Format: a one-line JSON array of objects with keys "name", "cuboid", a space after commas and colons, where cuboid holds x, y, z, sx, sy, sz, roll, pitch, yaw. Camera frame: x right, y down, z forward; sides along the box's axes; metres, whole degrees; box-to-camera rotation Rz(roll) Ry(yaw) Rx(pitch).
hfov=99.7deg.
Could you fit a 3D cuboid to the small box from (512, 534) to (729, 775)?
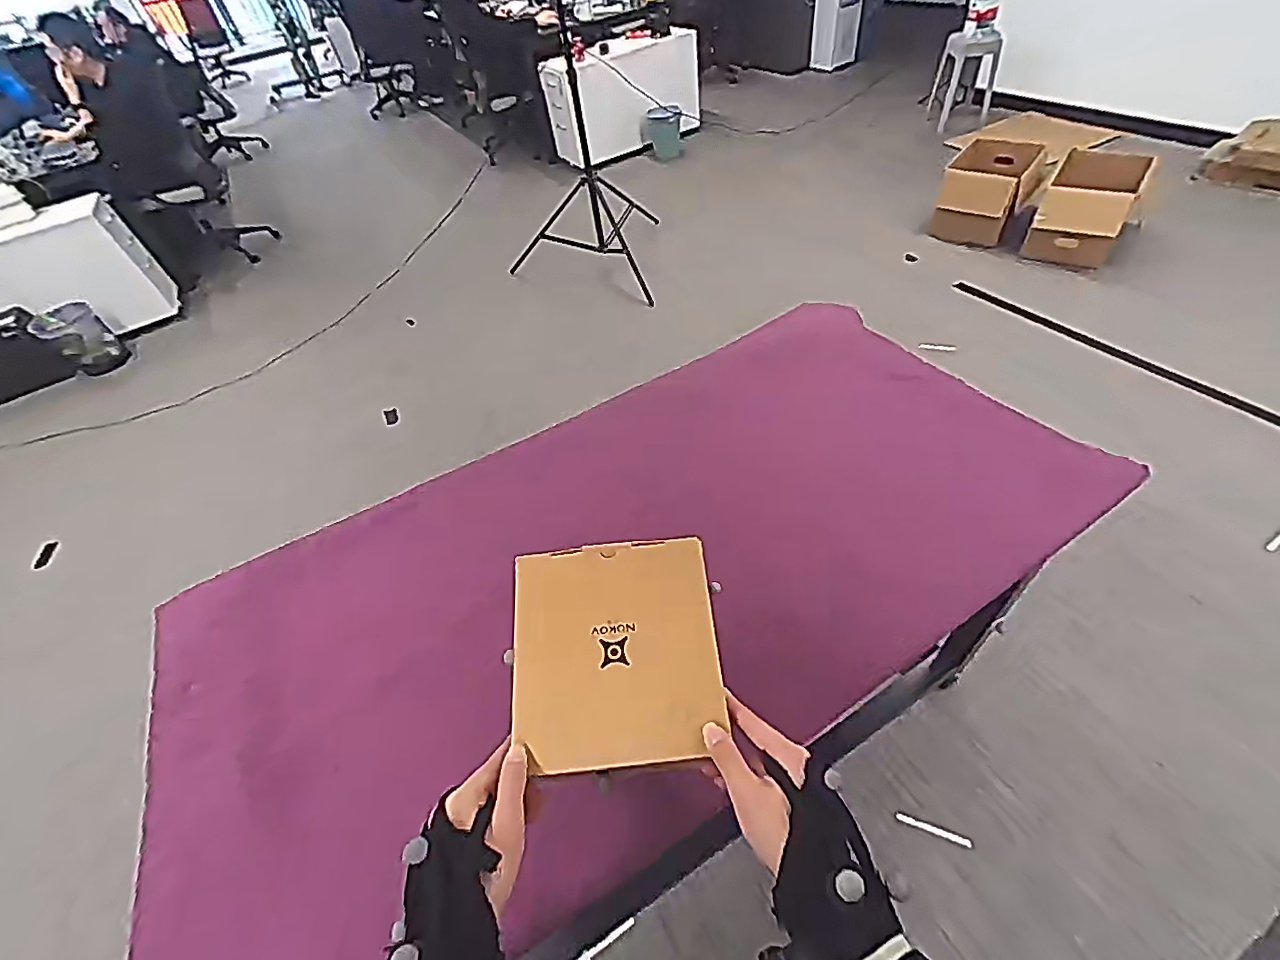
[{"name": "small box", "cuboid": [-0.014, 0.171, 0.504, 0.168, 0.176, 0.179, -7, 58, 1]}]
